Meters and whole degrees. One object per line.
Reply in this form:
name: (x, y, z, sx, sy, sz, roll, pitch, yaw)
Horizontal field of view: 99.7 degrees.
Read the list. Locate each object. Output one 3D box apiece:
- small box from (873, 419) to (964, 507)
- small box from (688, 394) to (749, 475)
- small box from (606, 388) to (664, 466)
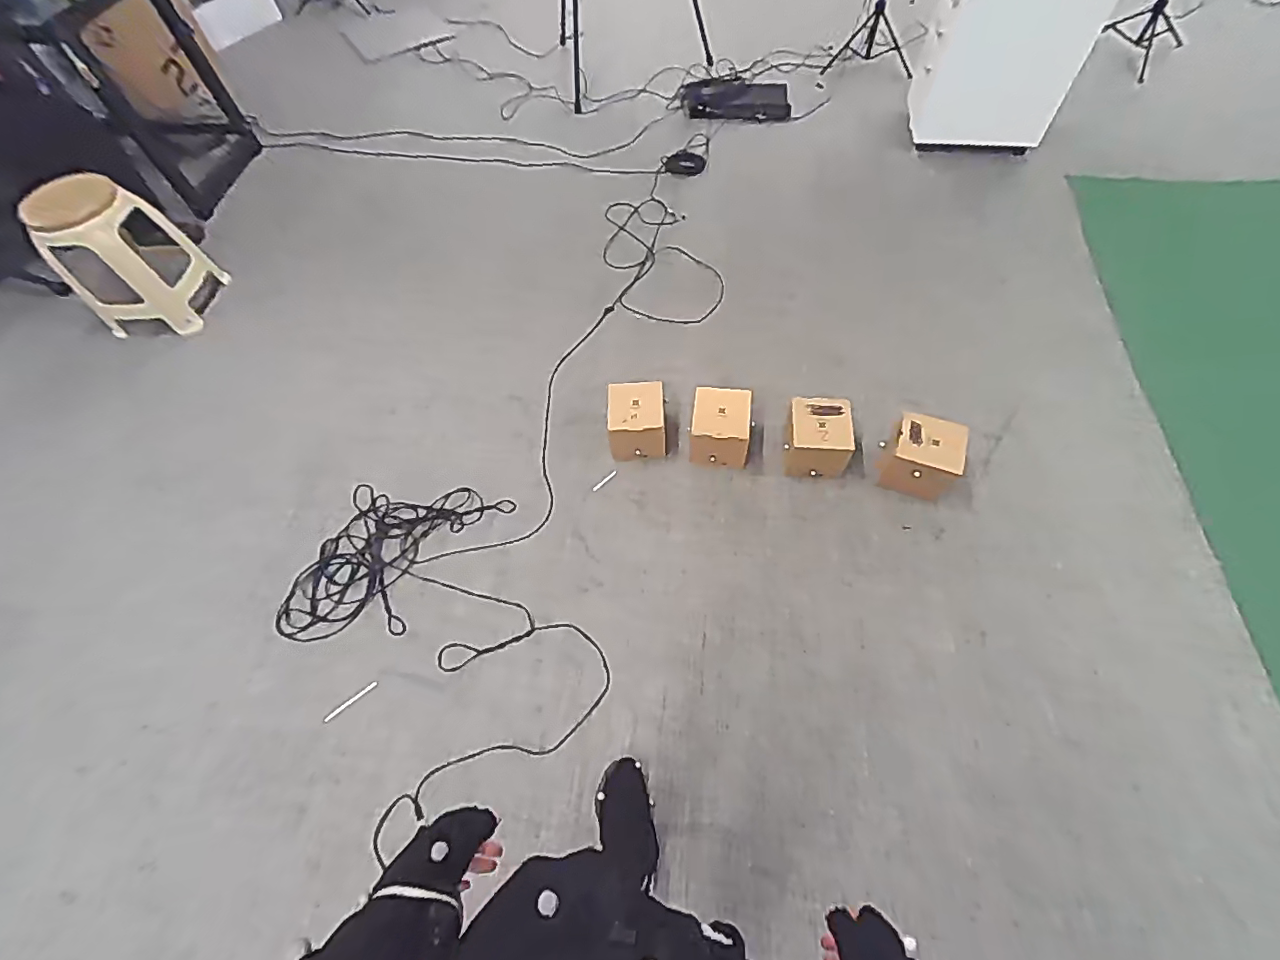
small box: (0.792, -0.044, 1.551, 0.179, 0.176, 0.168, 18, 62, 12)
small box: (0.236, -0.137, 1.641, 0.168, 0.176, 0.179, 5, 60, 7)
small box: (-0.013, -0.161, 1.668, 0.168, 0.176, 0.179, -2, 59, 3)
